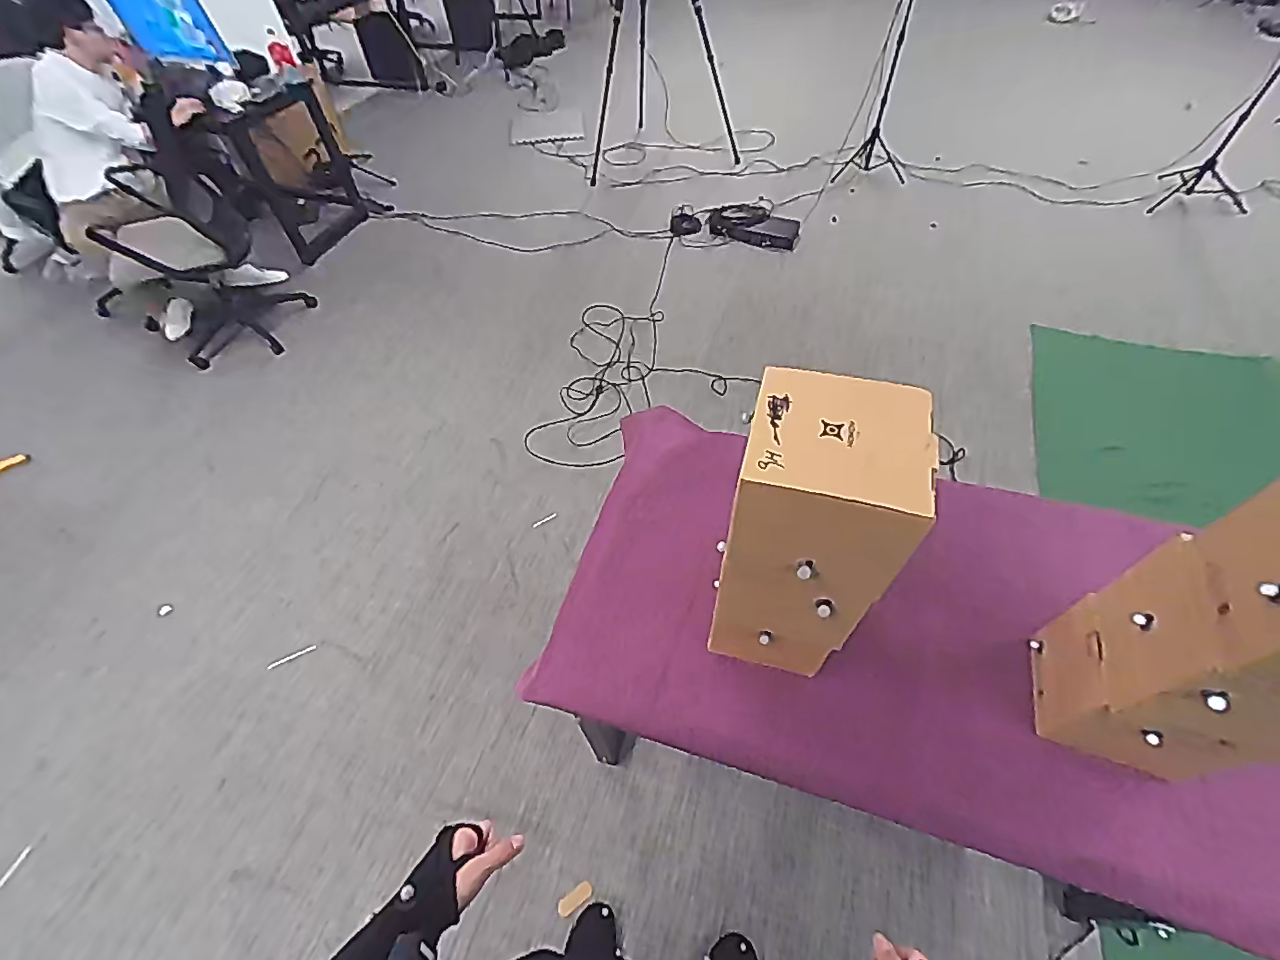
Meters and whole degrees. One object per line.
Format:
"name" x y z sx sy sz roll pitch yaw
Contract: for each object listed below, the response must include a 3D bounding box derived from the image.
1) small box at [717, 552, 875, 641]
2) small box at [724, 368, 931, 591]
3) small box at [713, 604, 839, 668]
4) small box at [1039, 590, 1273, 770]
"small box" 0.209 0.100 0.734 0.179 0.176 0.168 12 54 13
"small box" 0.200 0.004 0.602 0.179 0.176 0.168 12 55 12
"small box" 0.221 0.187 0.875 0.179 0.176 0.168 11 55 13
"small box" 0.696 0.285 0.763 0.179 0.176 0.168 15 55 15
